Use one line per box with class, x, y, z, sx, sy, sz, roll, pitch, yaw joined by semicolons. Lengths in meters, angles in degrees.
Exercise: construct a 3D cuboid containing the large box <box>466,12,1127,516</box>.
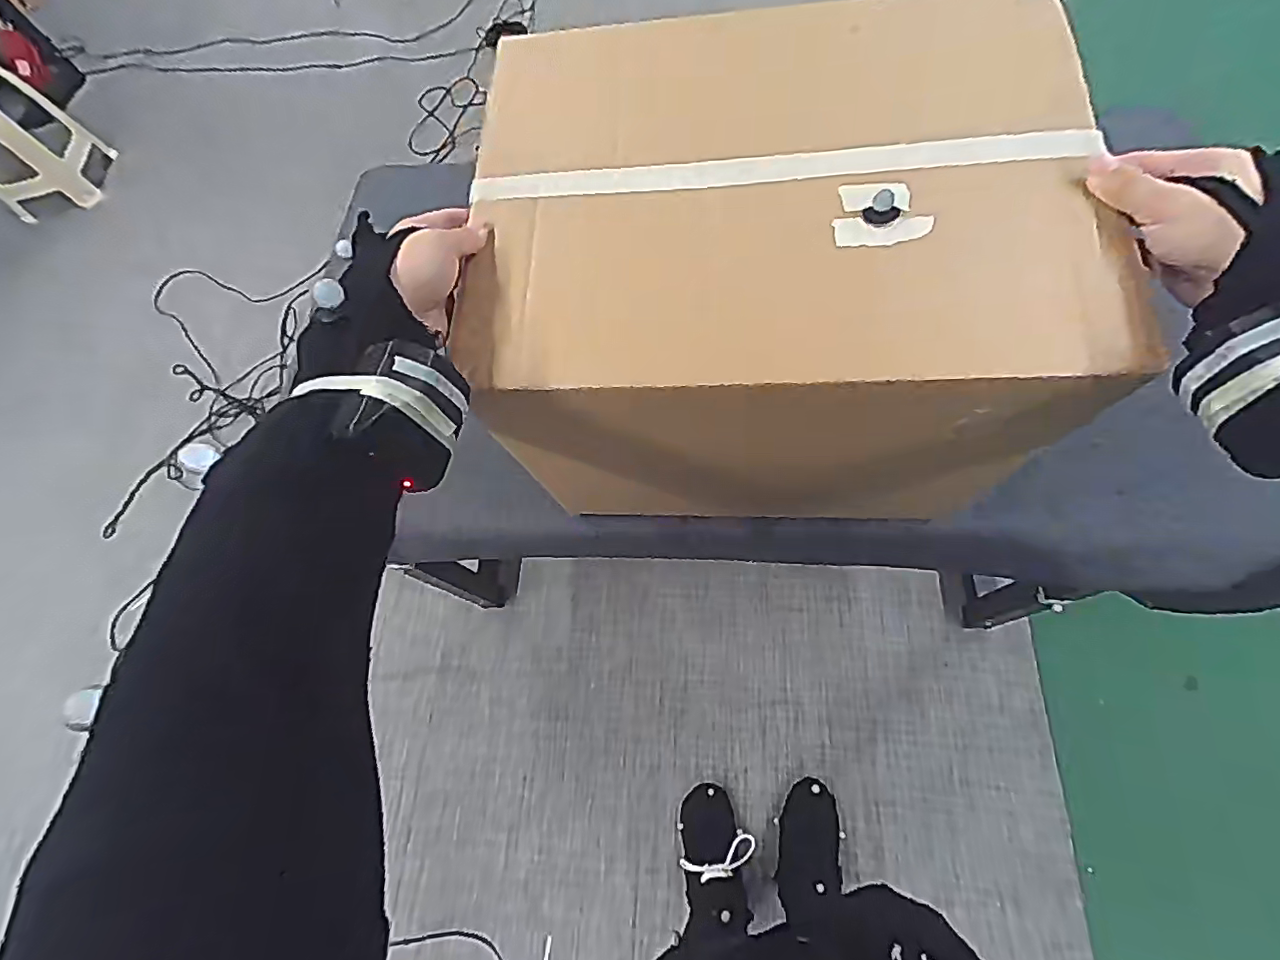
large box;0.100;-0.155;0.516;0.408;0.320;0.320;0;72;6
